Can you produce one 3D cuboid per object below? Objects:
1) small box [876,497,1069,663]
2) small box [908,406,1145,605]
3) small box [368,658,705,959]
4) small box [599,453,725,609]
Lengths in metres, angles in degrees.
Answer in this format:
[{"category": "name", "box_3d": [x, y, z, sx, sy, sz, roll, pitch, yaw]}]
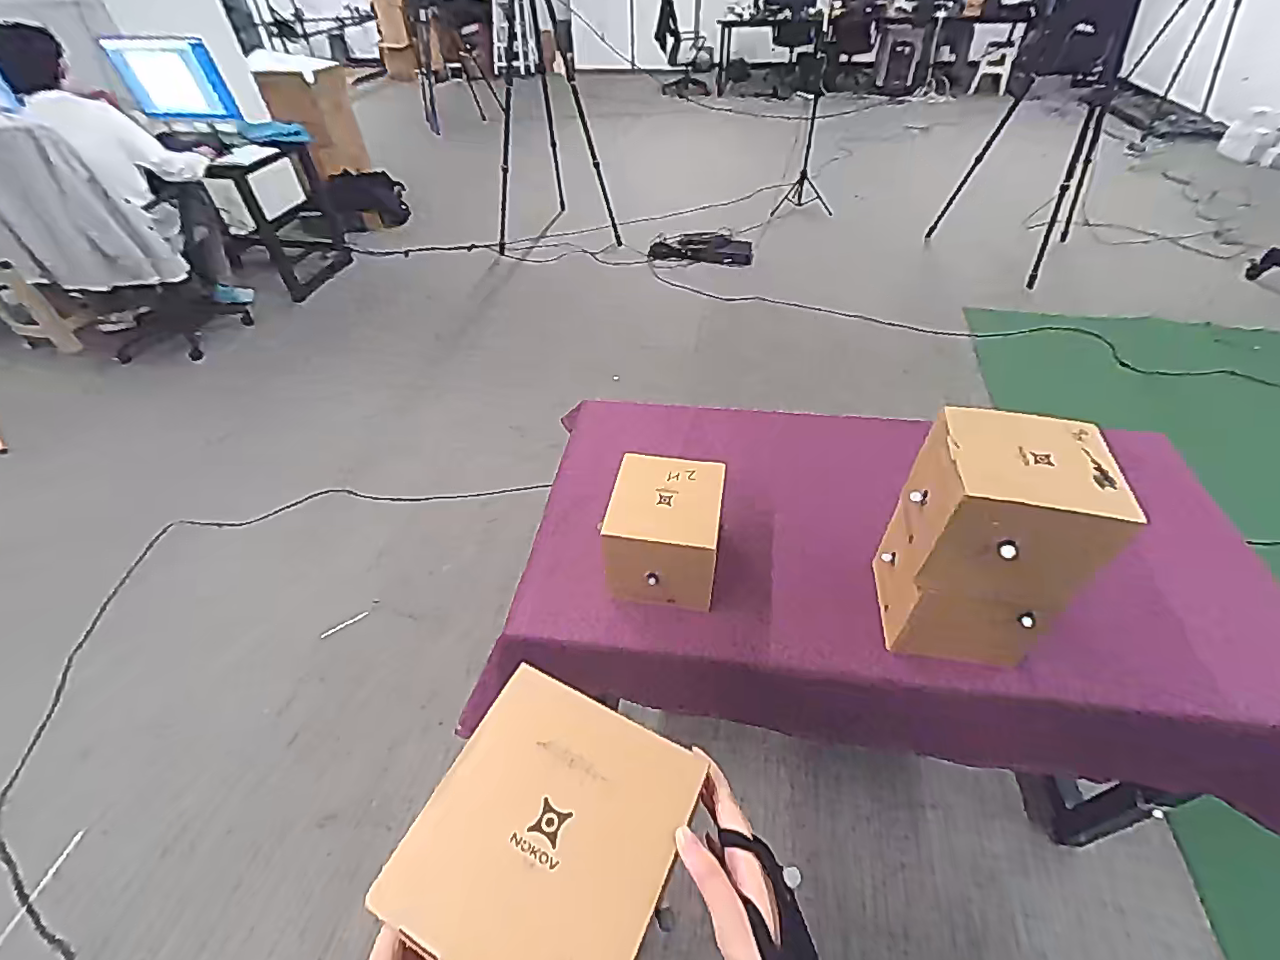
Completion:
[{"category": "small box", "box_3d": [0.456, 0.146, 0.783, 0.179, 0.176, 0.168, 6, 46, 8]}, {"category": "small box", "box_3d": [0.444, 0.032, 0.665, 0.179, 0.176, 0.168, 9, 46, 12]}, {"category": "small box", "box_3d": [-0.060, 0.280, 0.422, 0.168, 0.176, 0.179, 22, 53, 18]}, {"category": "small box", "box_3d": [0.041, 0.082, 0.861, 0.168, 0.176, 0.179, 7, 46, 9]}]
